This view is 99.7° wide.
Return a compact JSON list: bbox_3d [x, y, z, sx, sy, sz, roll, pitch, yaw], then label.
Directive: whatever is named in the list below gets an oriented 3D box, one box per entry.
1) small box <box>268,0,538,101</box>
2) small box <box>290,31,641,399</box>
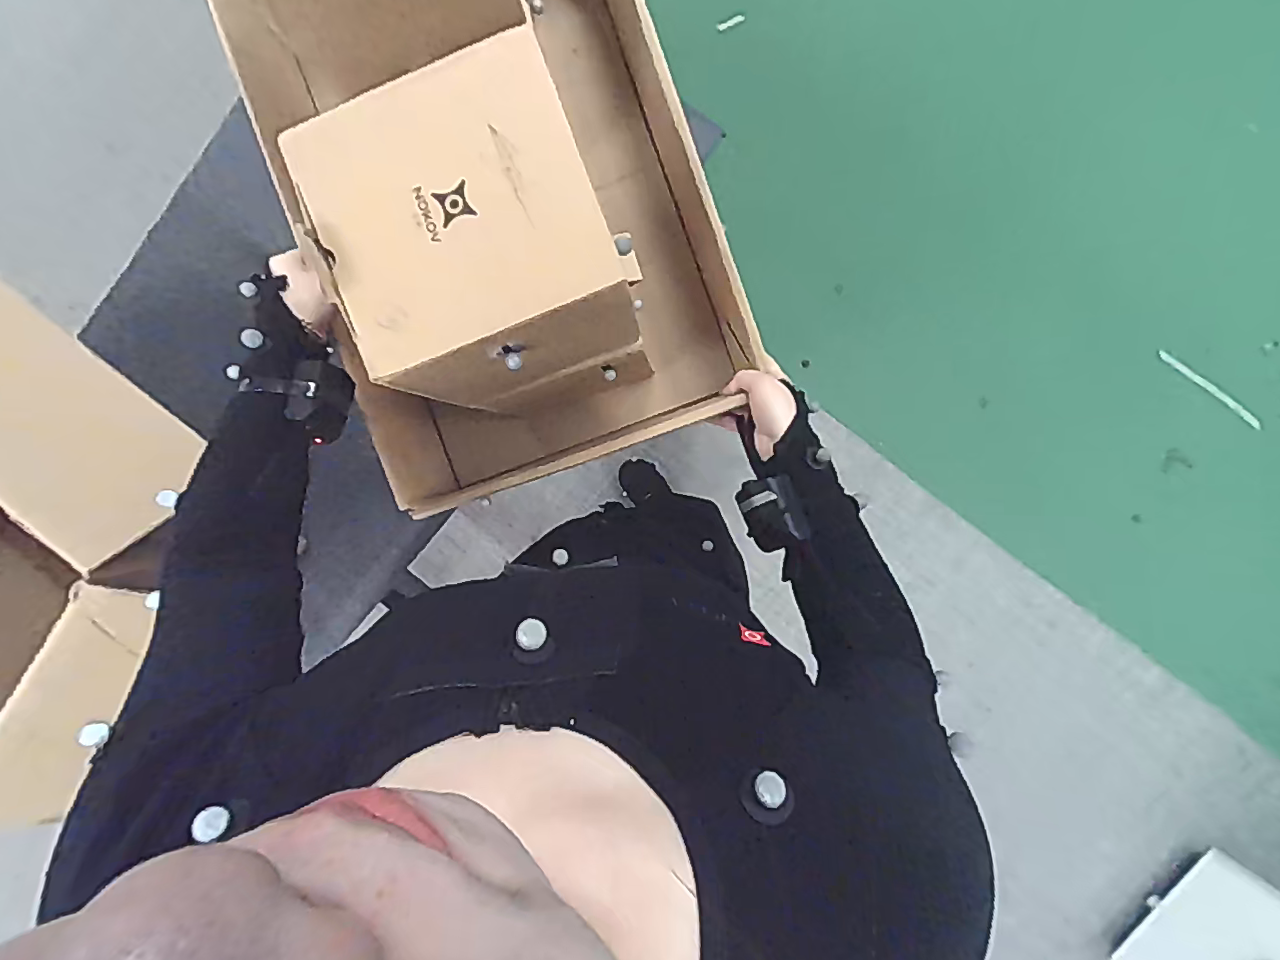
[{"bbox_3d":[-0.186,-0.411,0.400,0.168,0.176,0.179,-18,94,4],"label":"small box"},{"bbox_3d":[-0.108,-0.170,0.413,0.179,0.176,0.168,-21,92,4],"label":"small box"}]
